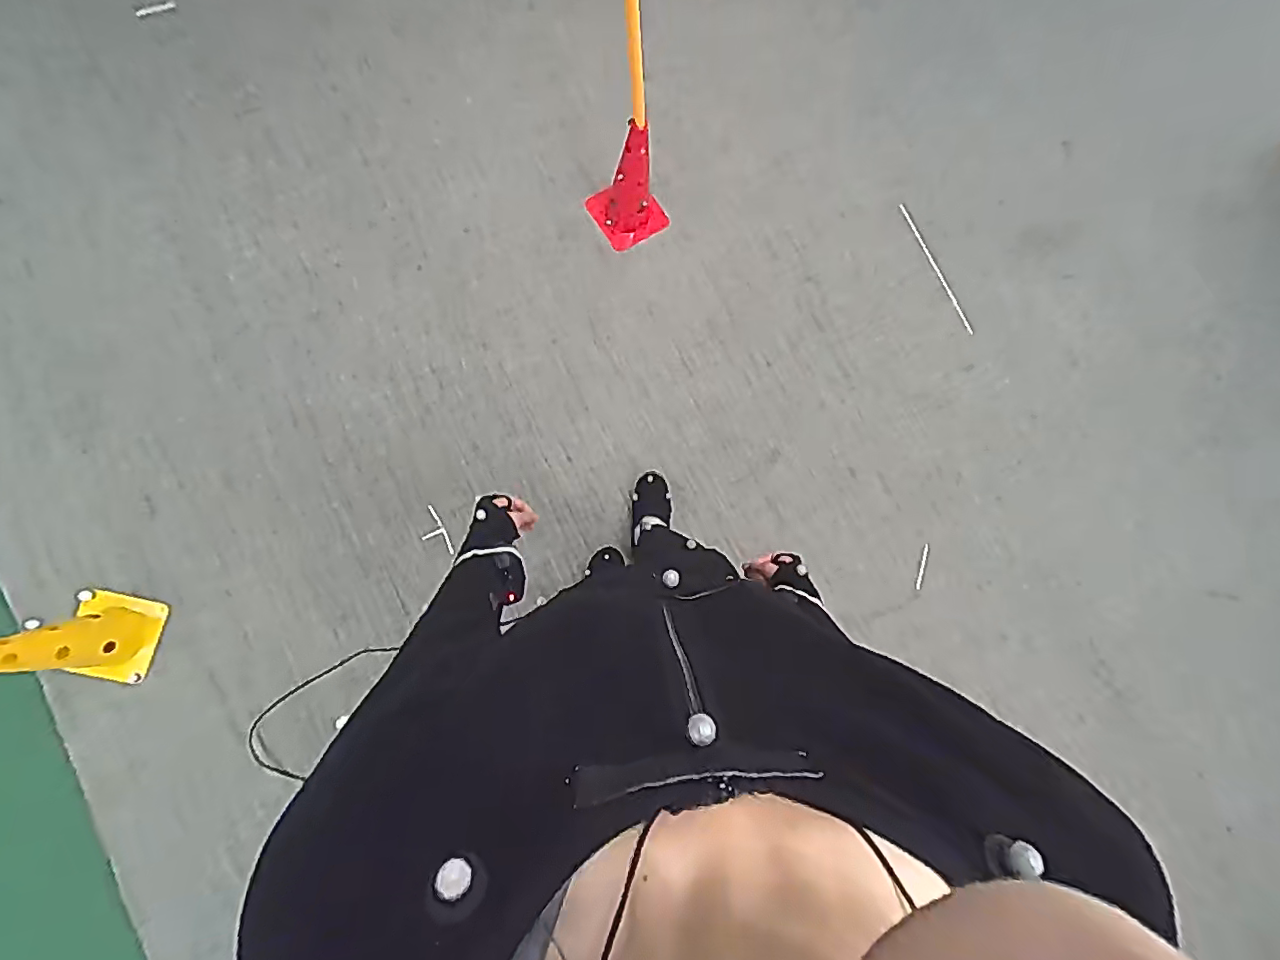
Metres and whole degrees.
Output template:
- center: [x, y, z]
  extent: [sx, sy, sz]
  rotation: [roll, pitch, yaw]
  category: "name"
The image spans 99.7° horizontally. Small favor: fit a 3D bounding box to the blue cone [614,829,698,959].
- center: [0.071, 0.993, 1.234]
  extent: [0.193, 0.380, 0.192]
  rotation: [23, 79, -6]
  category: "blue cone"
